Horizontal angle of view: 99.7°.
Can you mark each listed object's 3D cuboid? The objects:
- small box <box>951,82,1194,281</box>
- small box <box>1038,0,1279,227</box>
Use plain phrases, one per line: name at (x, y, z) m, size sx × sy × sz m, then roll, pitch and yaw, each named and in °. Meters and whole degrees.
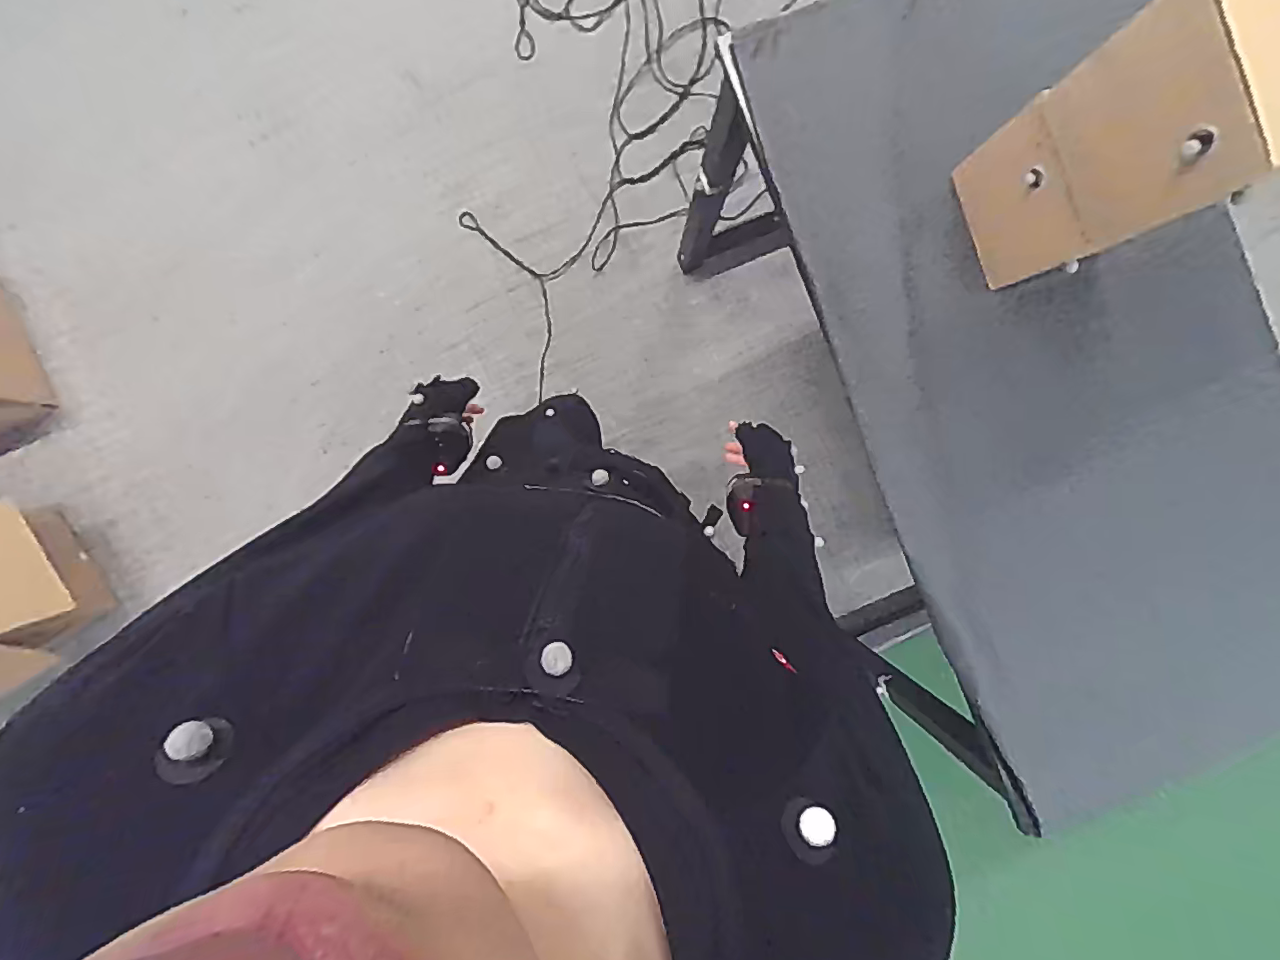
small box at (0.538, -0.384, 0.687) m, size 0.168 × 0.176 × 0.179 m, roll -21°, pitch 93°, yaw -2°
small box at (0.542, -0.373, 0.523) m, size 0.168 × 0.176 × 0.179 m, roll -22°, pitch 92°, yaw -3°
